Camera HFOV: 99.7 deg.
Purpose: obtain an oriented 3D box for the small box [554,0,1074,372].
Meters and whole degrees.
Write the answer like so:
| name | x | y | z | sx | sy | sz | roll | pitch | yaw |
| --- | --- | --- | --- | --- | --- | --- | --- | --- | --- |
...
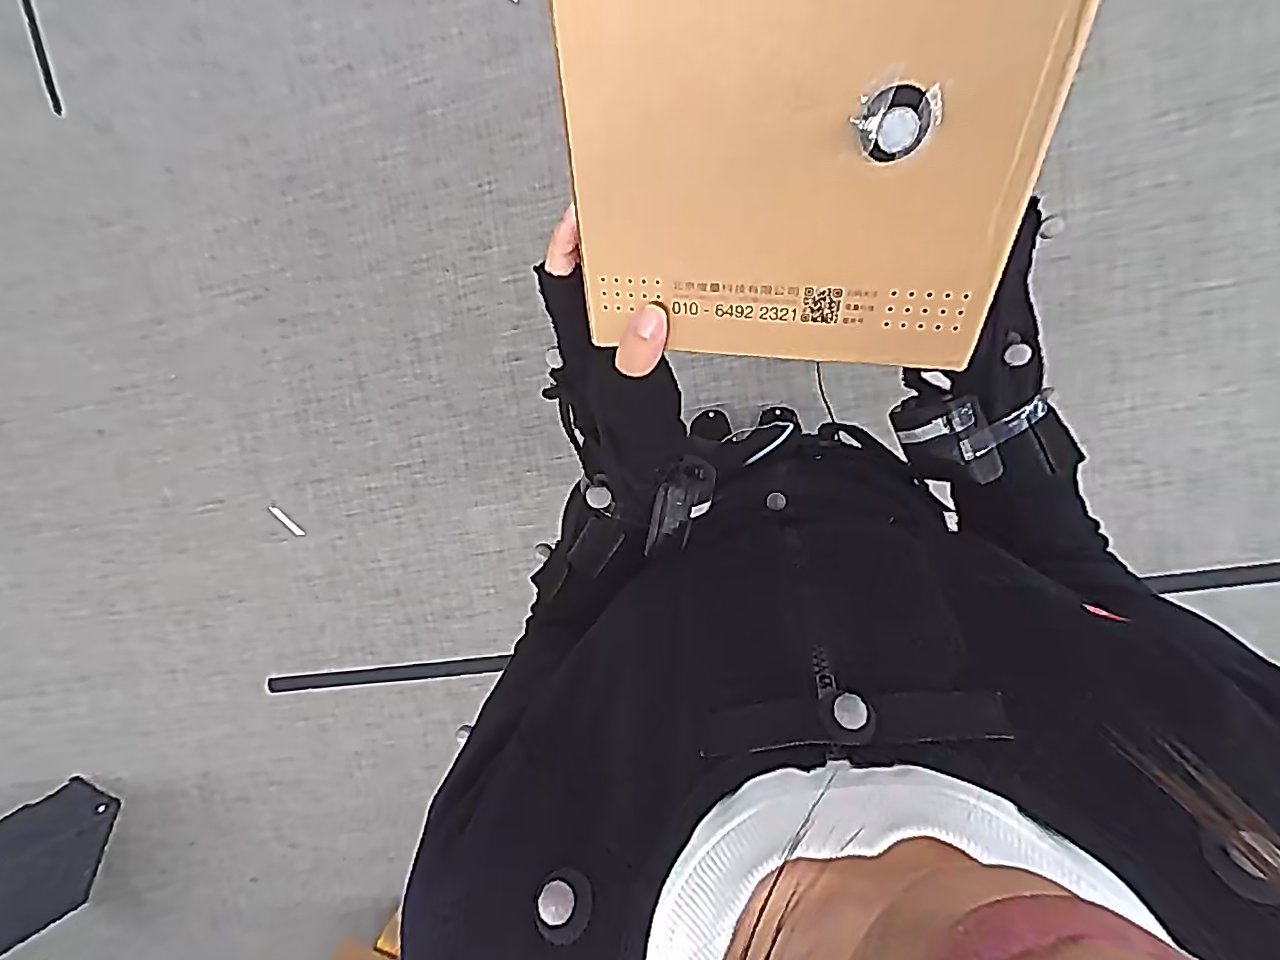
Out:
| name | x | y | z | sx | sy | sz | roll | pitch | yaw |
| --- | --- | --- | --- | --- | --- | --- | --- | --- | --- |
| small box | 0.076 | -0.167 | 0.260 | 0.168 | 0.179 | 0.176 | 9 | 131 | 15 |
